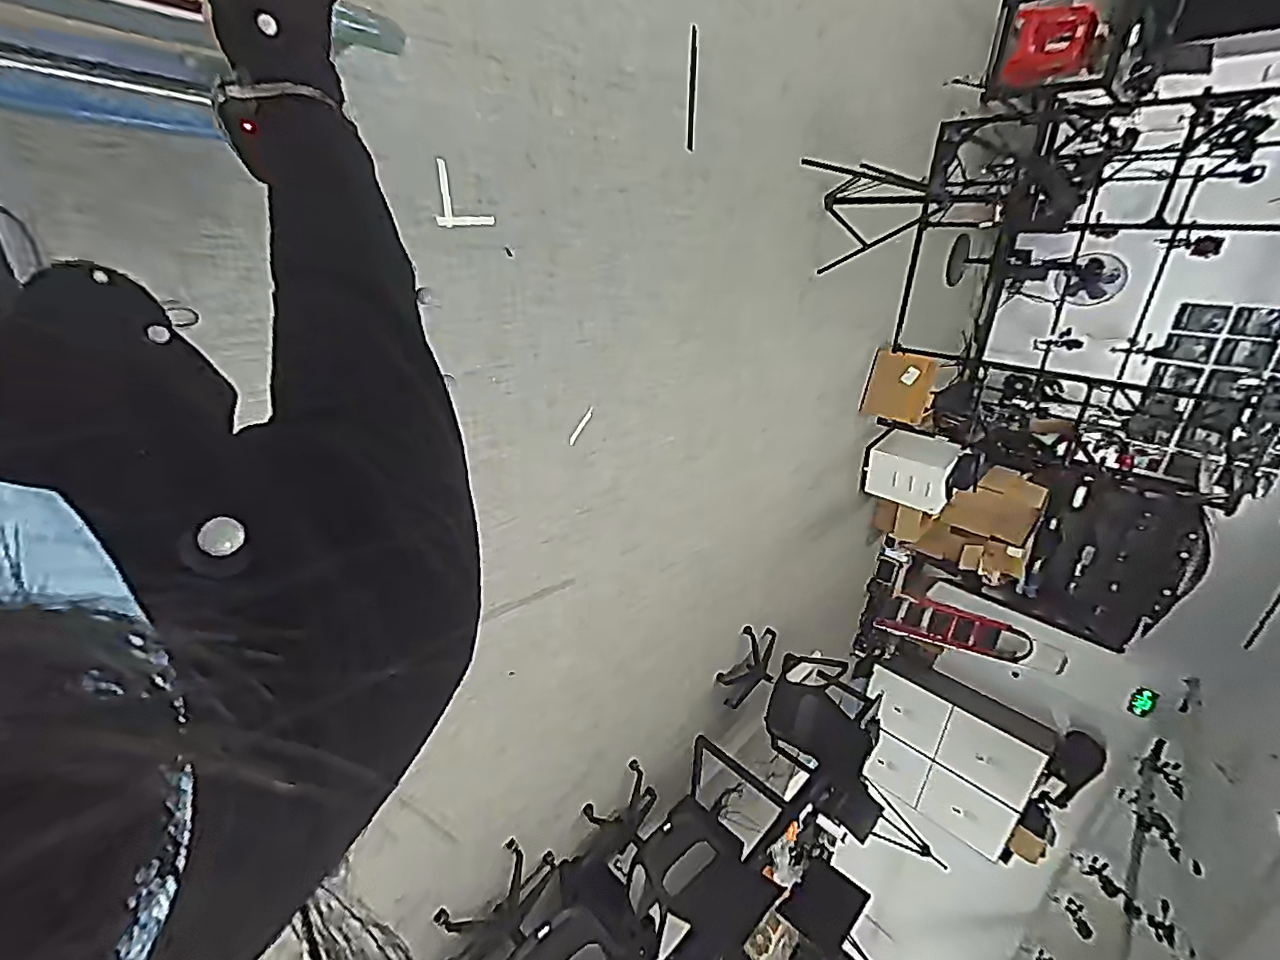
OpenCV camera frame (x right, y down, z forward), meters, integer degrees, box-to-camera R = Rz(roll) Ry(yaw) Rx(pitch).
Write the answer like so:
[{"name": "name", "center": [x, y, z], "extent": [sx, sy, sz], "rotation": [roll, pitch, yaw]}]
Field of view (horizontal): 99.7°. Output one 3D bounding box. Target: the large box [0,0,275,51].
[{"name": "large box", "center": [-0.751, -0.774, 0.652], "extent": [0.408, 0.320, 0.320], "rotation": [-23, 125, -42]}]
